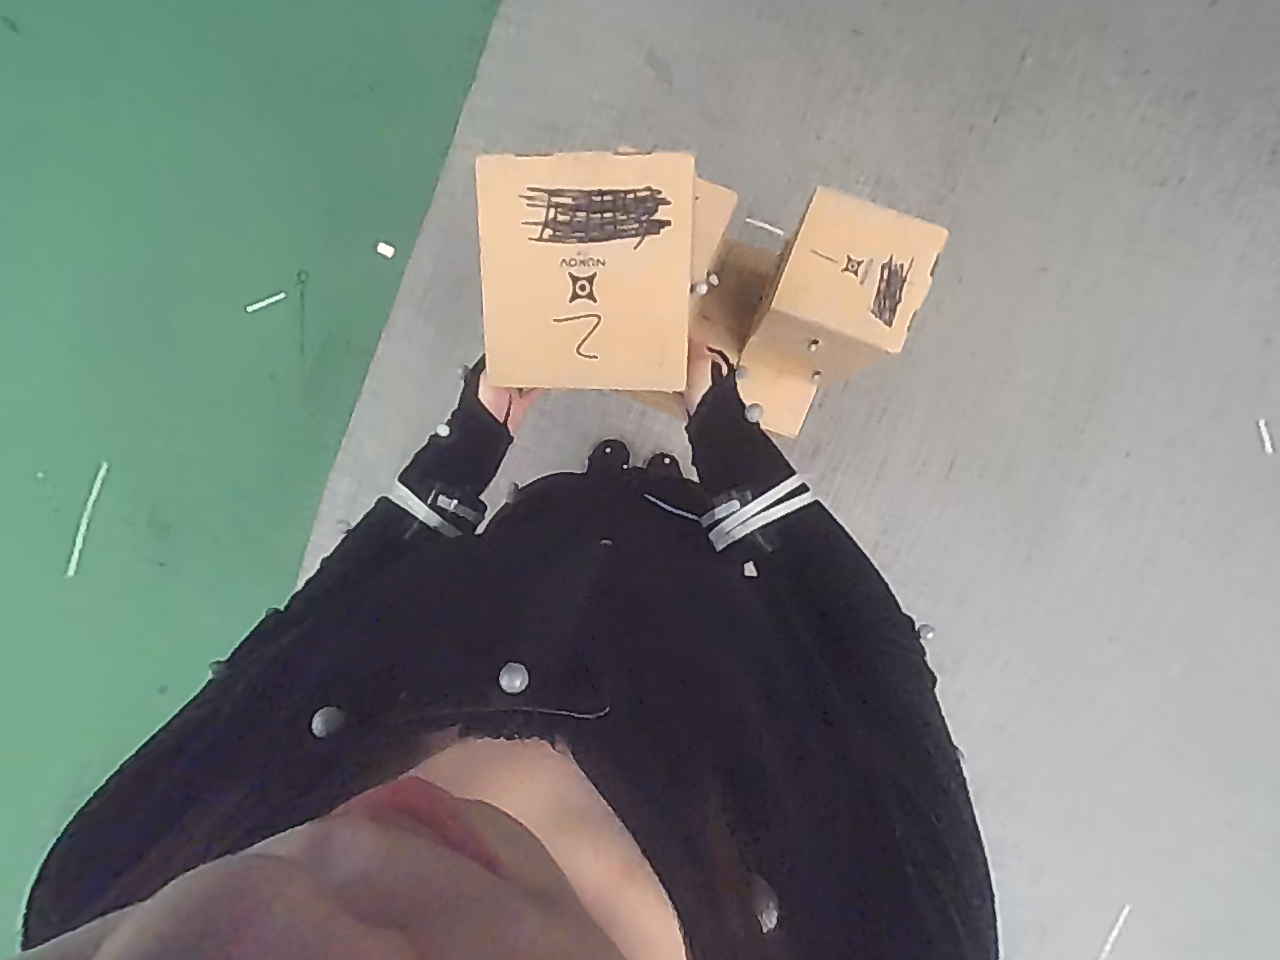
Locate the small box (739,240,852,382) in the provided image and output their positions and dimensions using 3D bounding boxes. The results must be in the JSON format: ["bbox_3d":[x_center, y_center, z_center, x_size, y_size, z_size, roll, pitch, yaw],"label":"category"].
[{"bbox_3d":[0.285,-0.276,0.928,0.179,0.176,0.168,21,94,3],"label":"small box"}]

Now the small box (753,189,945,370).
[{"bbox_3d":[0.279,-0.266,0.765,0.179,0.176,0.168,23,94,3],"label":"small box"}]

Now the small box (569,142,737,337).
[{"bbox_3d":[0.019,-0.323,0.771,0.168,0.176,0.179,25,95,-1],"label":"small box"}]

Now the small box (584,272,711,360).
[{"bbox_3d":[0.020,-0.323,0.936,0.168,0.176,0.179,23,95,0],"label":"small box"}]
